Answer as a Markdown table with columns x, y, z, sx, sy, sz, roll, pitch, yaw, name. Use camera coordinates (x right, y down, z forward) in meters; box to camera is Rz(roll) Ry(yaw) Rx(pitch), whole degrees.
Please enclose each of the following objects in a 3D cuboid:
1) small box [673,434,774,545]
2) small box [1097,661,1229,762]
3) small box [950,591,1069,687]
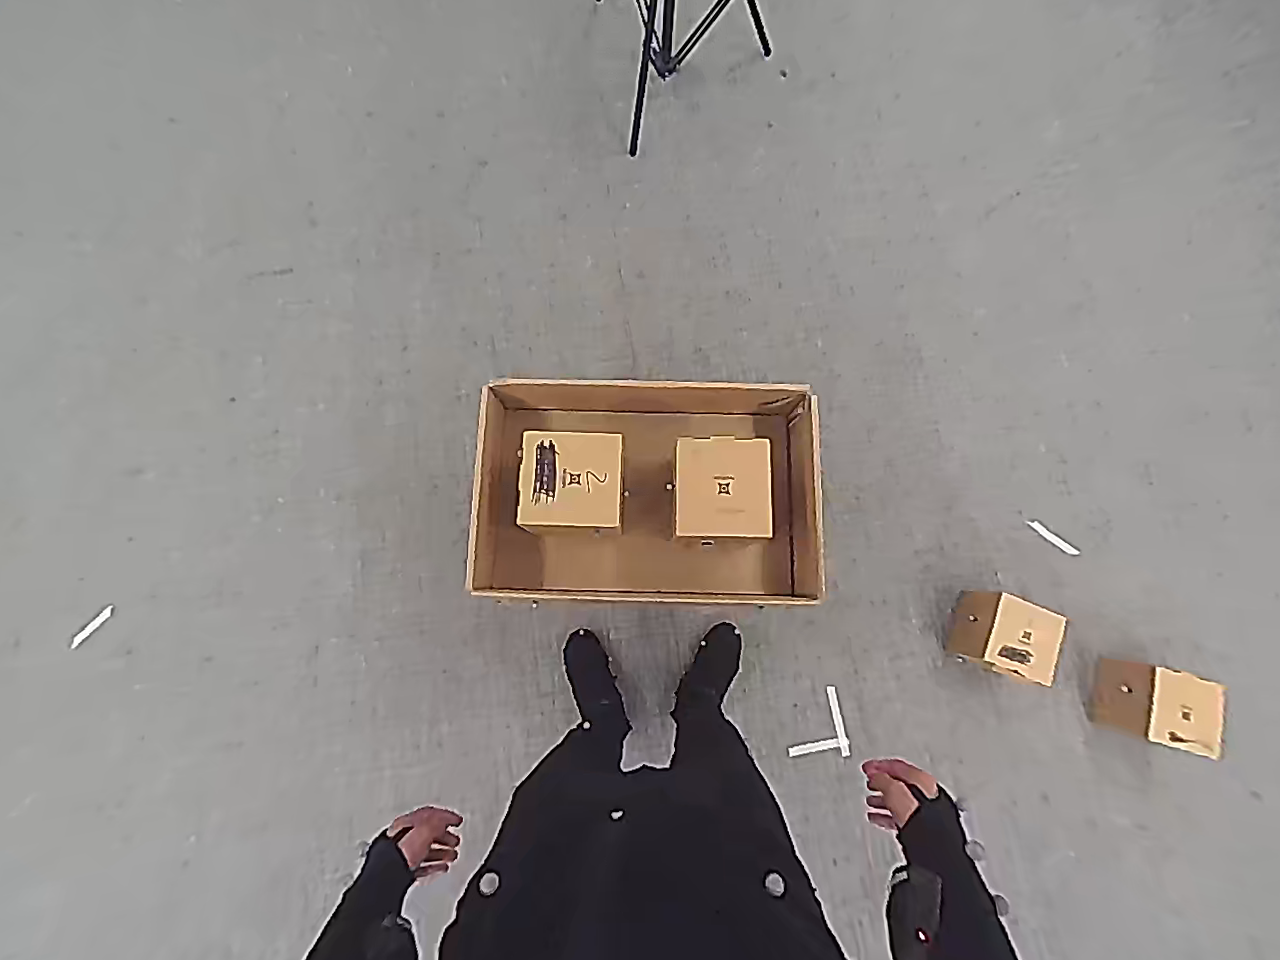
| x | y | z | sx | sy | sz | roll | pitch | yaw | name |
| --- | --- | --- | --- | --- | --- | --- | --- | --- | --- |
| 0.147 | 0.023 | 1.007 | 0.168 | 0.176 | 0.179 | 1 | 78 | 1 | small box |
| 1.280 | 0.559 | 1.335 | 0.168 | 0.176 | 0.179 | 16 | 78 | 3 | small box |
| 0.922 | 0.394 | 1.365 | 0.168 | 0.176 | 0.179 | 23 | 80 | 4 | small box |
